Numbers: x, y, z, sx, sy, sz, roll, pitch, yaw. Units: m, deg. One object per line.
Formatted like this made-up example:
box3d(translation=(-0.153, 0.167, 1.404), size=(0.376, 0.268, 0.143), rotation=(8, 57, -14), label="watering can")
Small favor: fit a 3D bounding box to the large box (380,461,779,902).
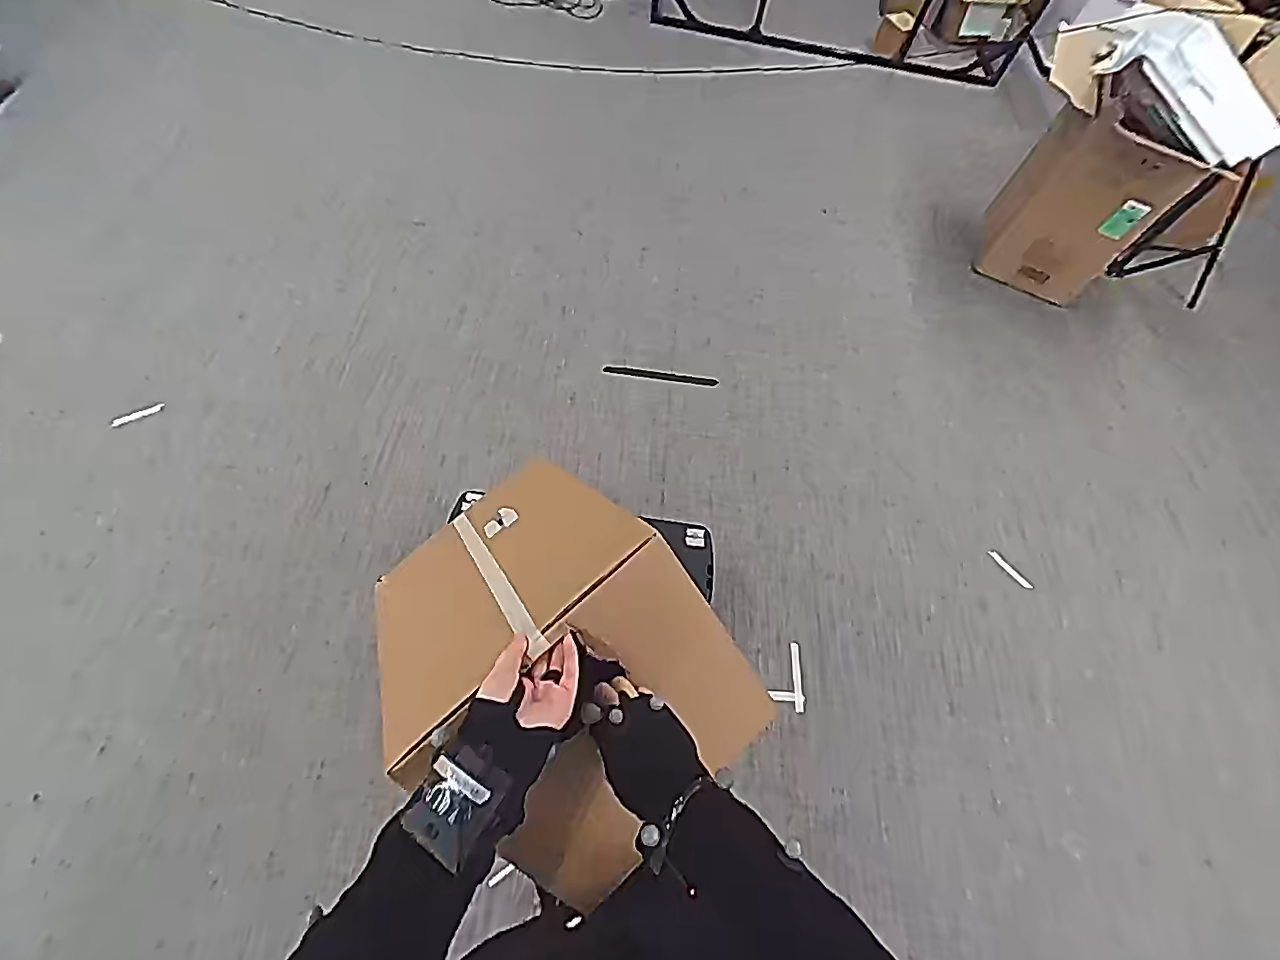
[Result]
box3d(translation=(-0.101, 0.215, 0.716), size=(0.320, 0.408, 0.320), rotation=(-40, 117, -14), label="large box")
